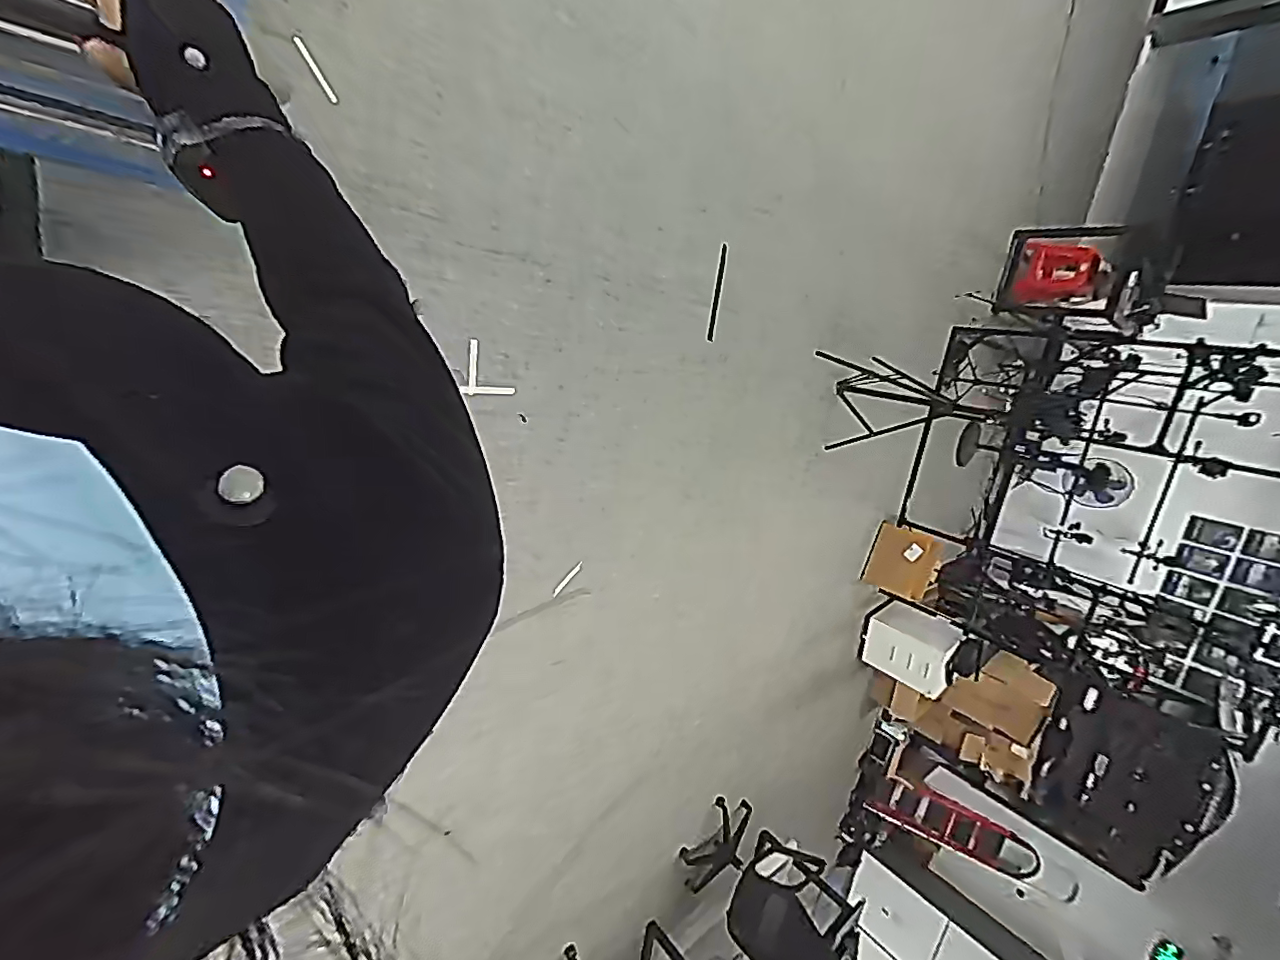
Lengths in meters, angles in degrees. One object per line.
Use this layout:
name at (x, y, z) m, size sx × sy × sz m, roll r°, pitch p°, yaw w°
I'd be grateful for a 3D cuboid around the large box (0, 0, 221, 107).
large box at (-0.800, -0.717, 0.657) m, size 0.408 × 0.320 × 0.320 m, roll -10°, pitch 113°, yaw -42°
